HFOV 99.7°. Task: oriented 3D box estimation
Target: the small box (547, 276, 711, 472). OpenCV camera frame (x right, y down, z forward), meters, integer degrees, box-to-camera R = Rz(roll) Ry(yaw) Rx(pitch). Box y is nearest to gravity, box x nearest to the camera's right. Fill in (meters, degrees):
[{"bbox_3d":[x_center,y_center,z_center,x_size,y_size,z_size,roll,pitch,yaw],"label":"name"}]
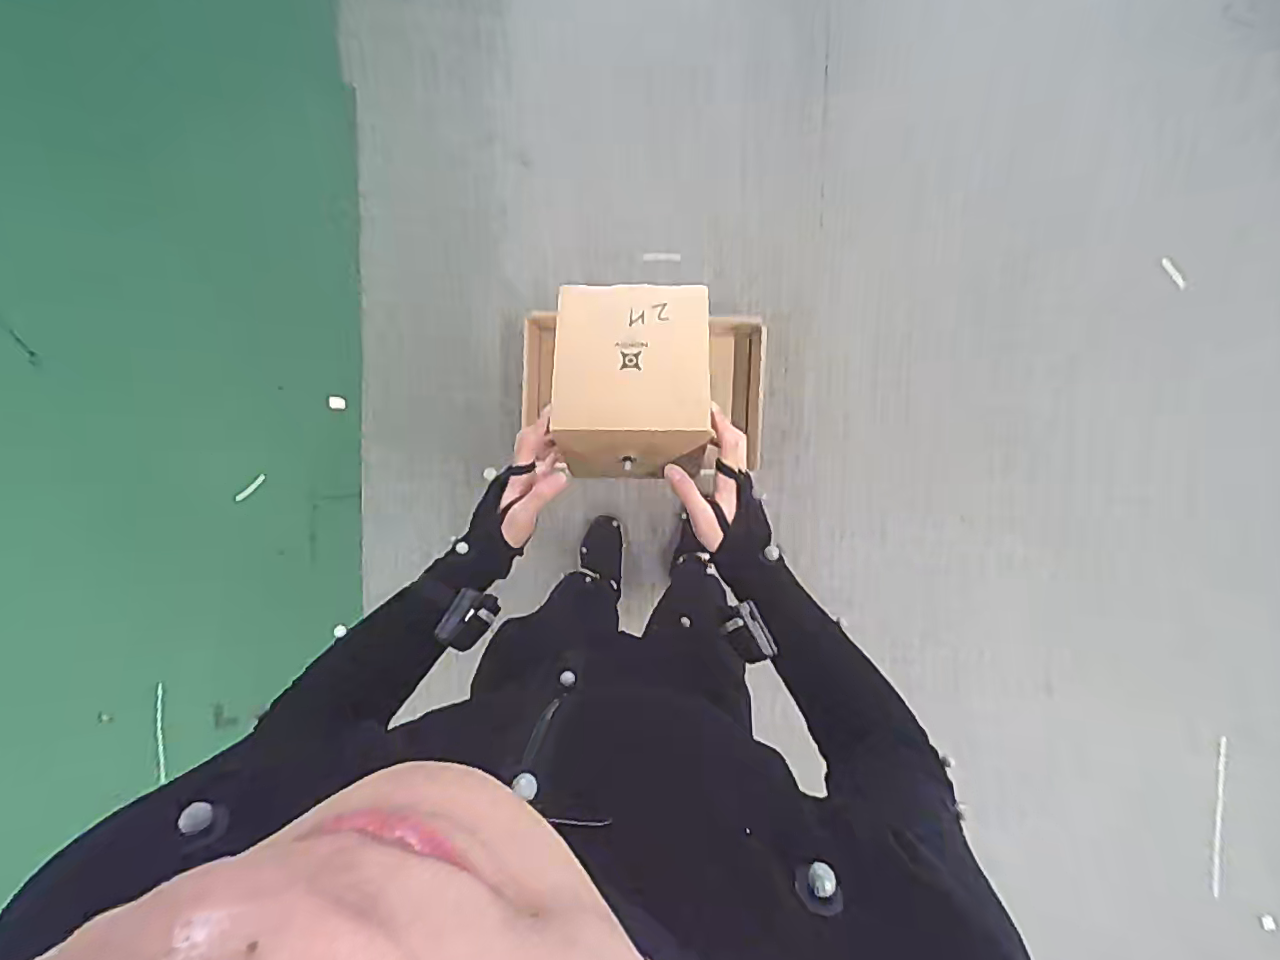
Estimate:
[{"bbox_3d":[-0.006,-0.112,0.631,0.168,0.176,0.179,1,73,1],"label":"small box"}]
